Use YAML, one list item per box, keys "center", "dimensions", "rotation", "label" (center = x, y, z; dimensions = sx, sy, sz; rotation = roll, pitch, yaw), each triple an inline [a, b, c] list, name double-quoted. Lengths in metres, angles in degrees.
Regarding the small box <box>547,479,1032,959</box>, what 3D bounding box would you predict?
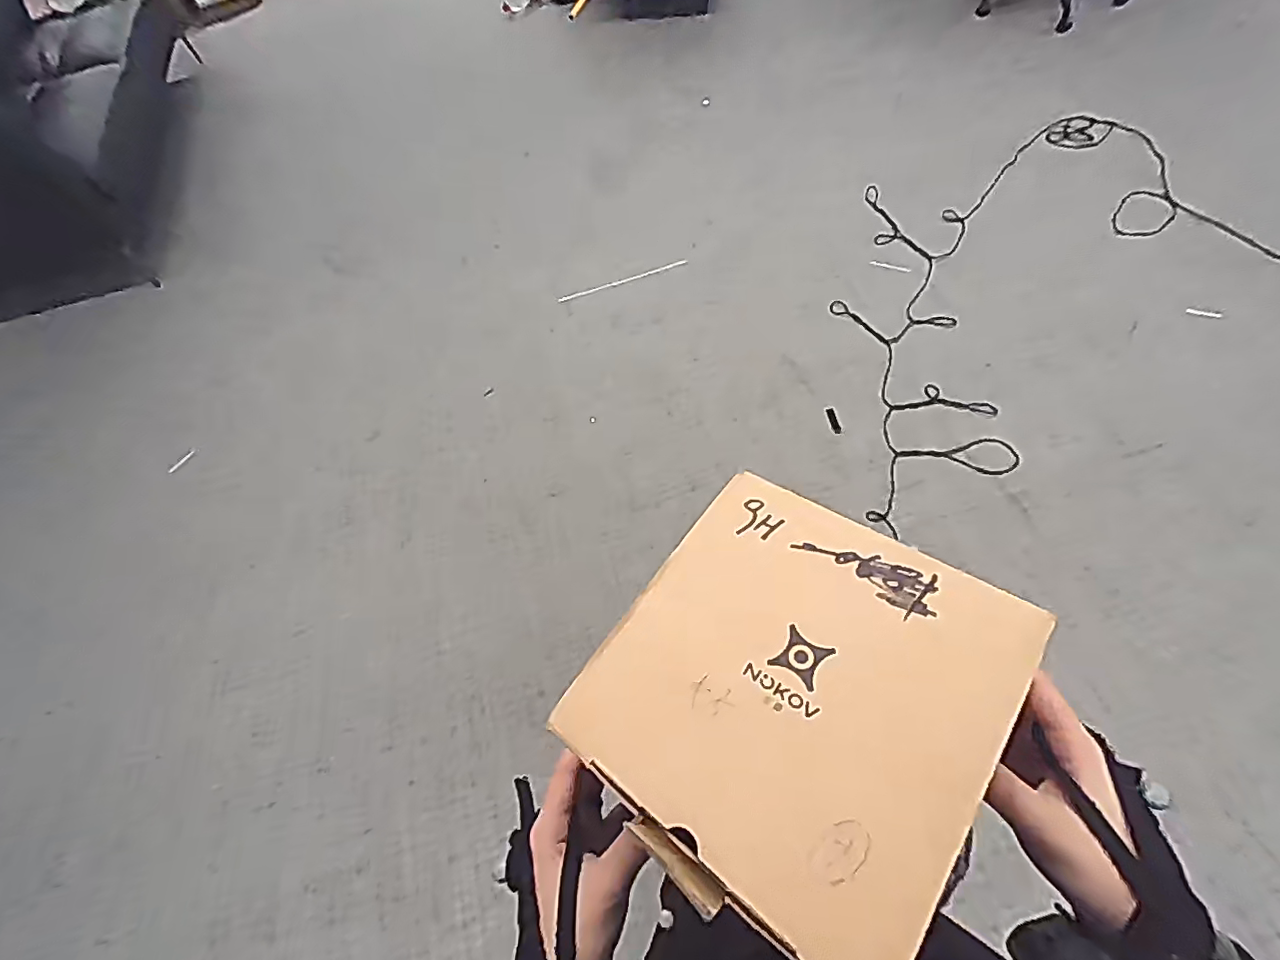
- center: [0.084, 0.138, 0.319]
  dimensions: [0.168, 0.176, 0.179]
  rotation: [28, 67, 30]
  label: "small box"
